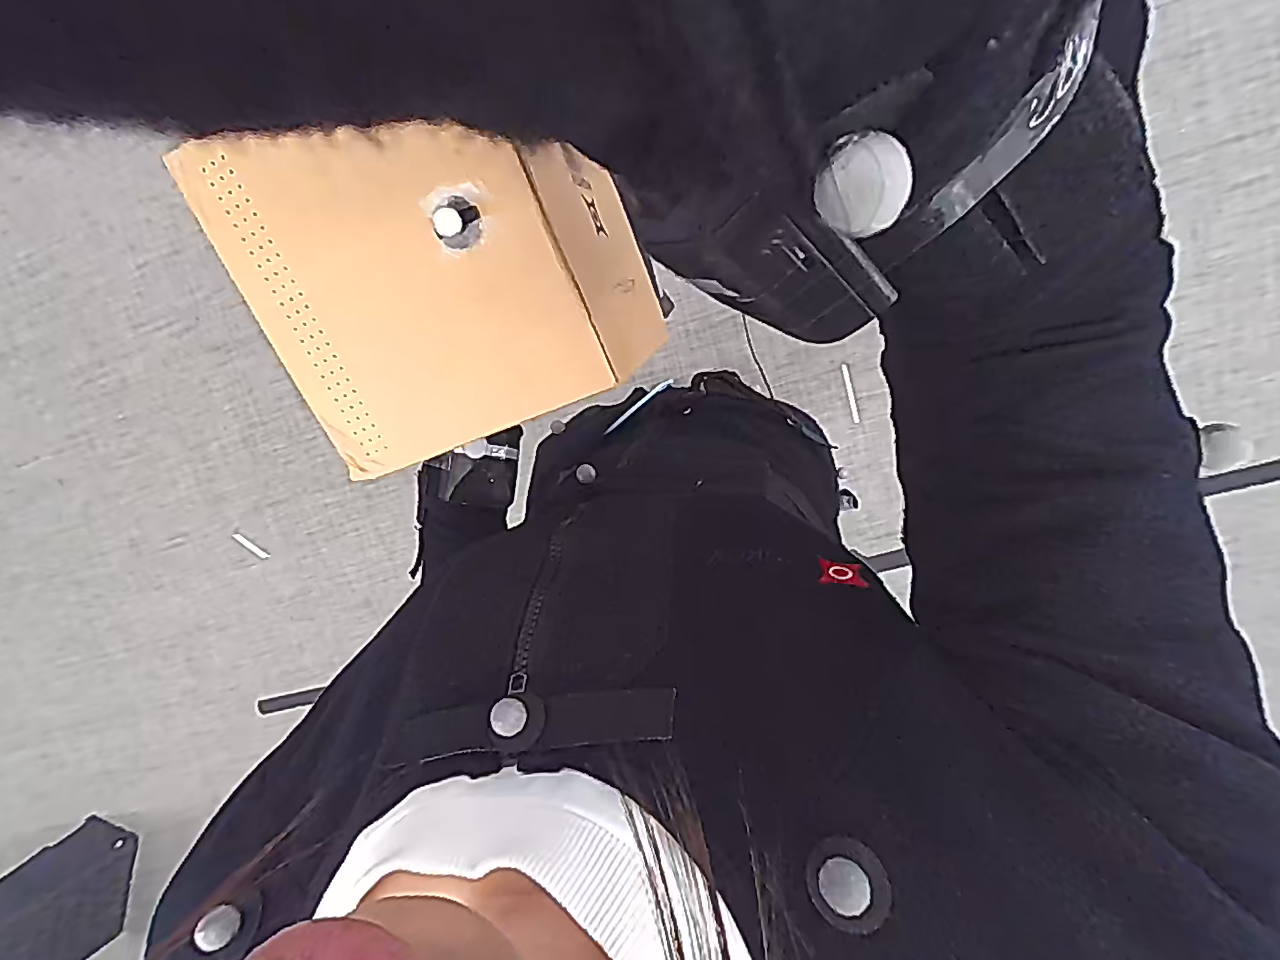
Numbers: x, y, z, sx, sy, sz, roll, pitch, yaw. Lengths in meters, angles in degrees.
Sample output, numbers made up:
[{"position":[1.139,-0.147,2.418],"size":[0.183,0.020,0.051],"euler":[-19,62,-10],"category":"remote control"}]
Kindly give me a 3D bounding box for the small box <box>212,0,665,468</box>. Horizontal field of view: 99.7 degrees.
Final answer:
[{"position":[-0.103,-0.131,0.338],"size":[0.176,0.168,0.179],"euler":[-18,107,18],"category":"small box"}]
